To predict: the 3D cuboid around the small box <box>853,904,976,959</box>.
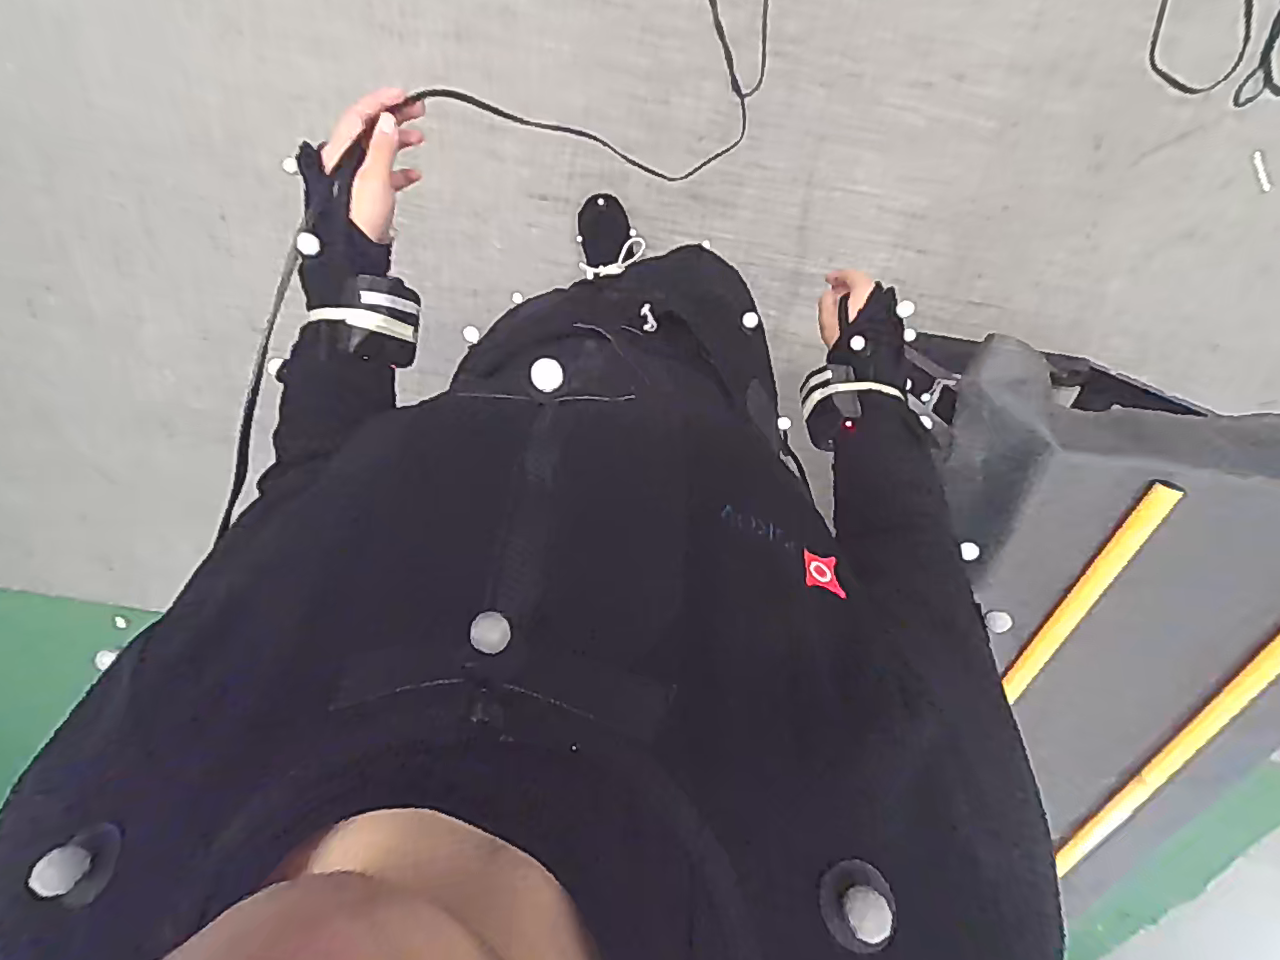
[{"bbox_3d":[0.550,0.977,1.069,0.179,0.176,0.168,9,118,-4],"label":"small box"}]
